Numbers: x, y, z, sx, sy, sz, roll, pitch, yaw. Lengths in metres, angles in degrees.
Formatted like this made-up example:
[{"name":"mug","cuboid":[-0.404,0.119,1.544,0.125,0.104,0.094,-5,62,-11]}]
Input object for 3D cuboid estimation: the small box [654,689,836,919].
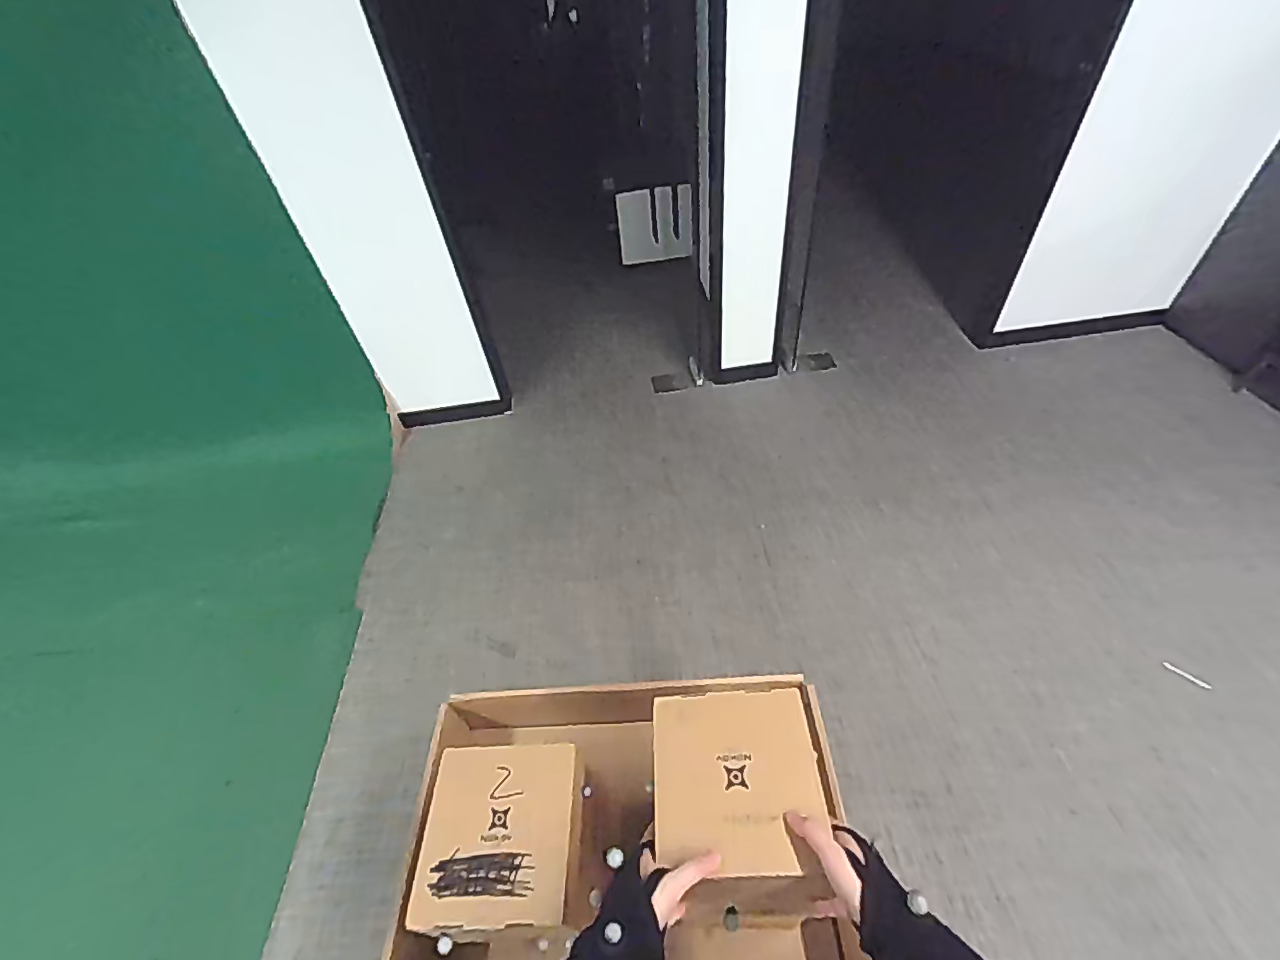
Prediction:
[{"name":"small box","cuboid":[0.104,0.357,0.600,0.168,0.176,0.179,-5,40,5]}]
